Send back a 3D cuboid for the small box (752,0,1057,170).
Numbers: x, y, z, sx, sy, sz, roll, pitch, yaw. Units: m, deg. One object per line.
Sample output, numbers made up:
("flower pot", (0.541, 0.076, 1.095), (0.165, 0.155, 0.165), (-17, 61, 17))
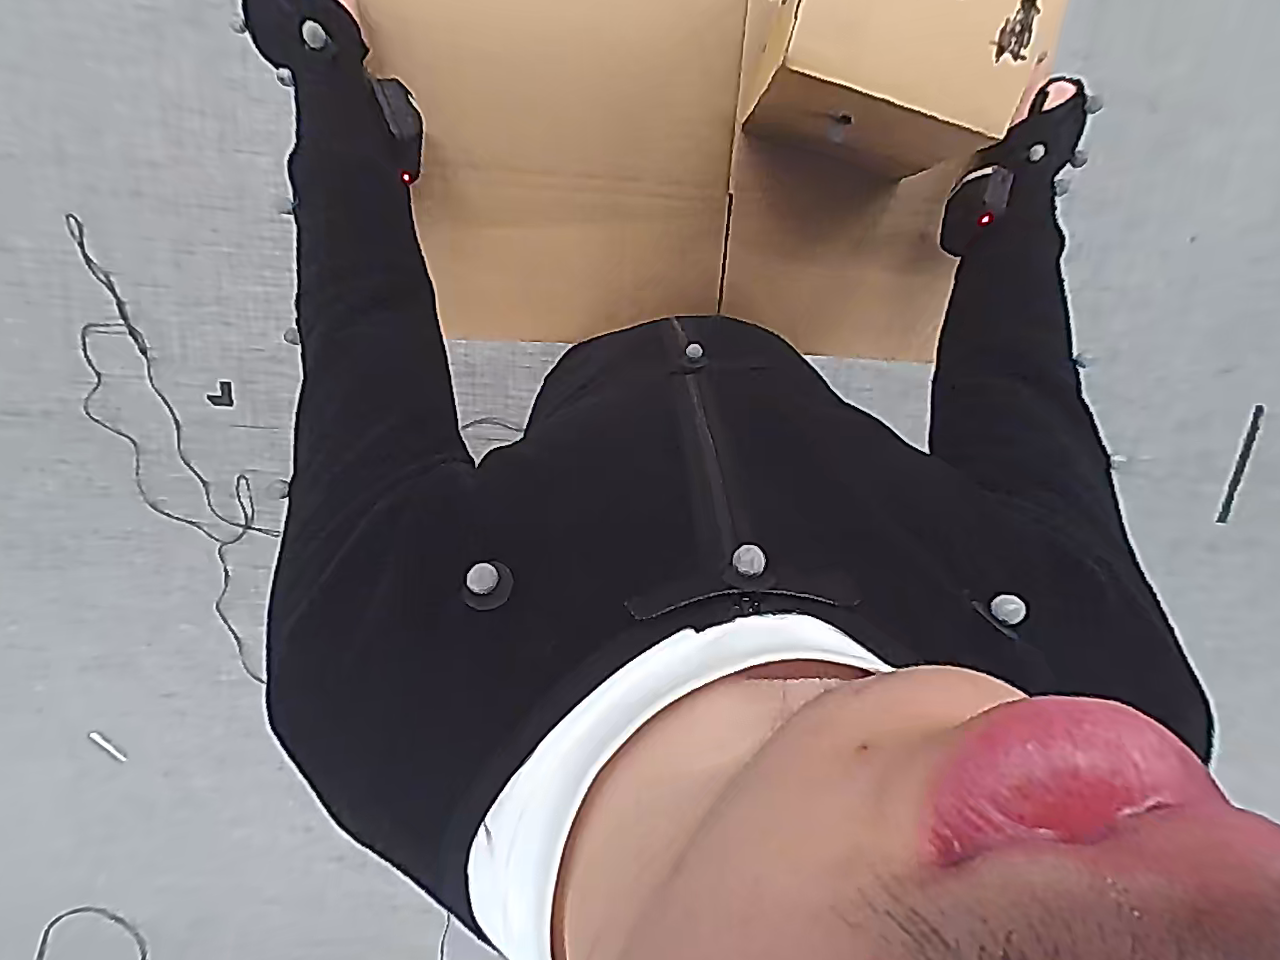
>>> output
("small box", (0.207, -0.378, 0.444), (0.179, 0.176, 0.168), (15, 110, -4))
